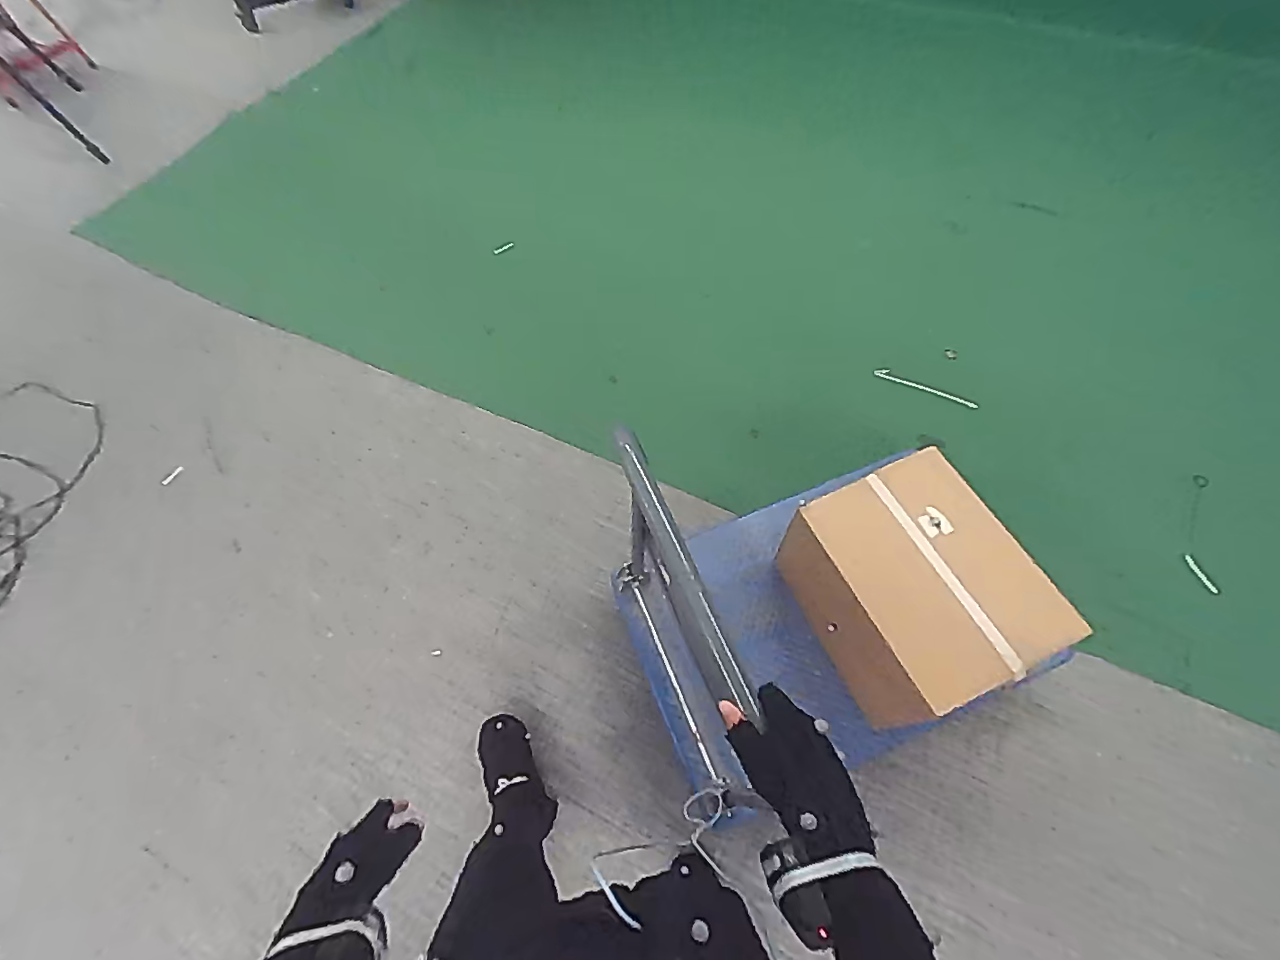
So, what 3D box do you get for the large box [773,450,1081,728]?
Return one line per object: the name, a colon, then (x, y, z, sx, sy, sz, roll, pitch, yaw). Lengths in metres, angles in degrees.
large box: (0.517, 0.223, 1.082, 0.320, 0.320, 0.408, -23, 62, -9)
